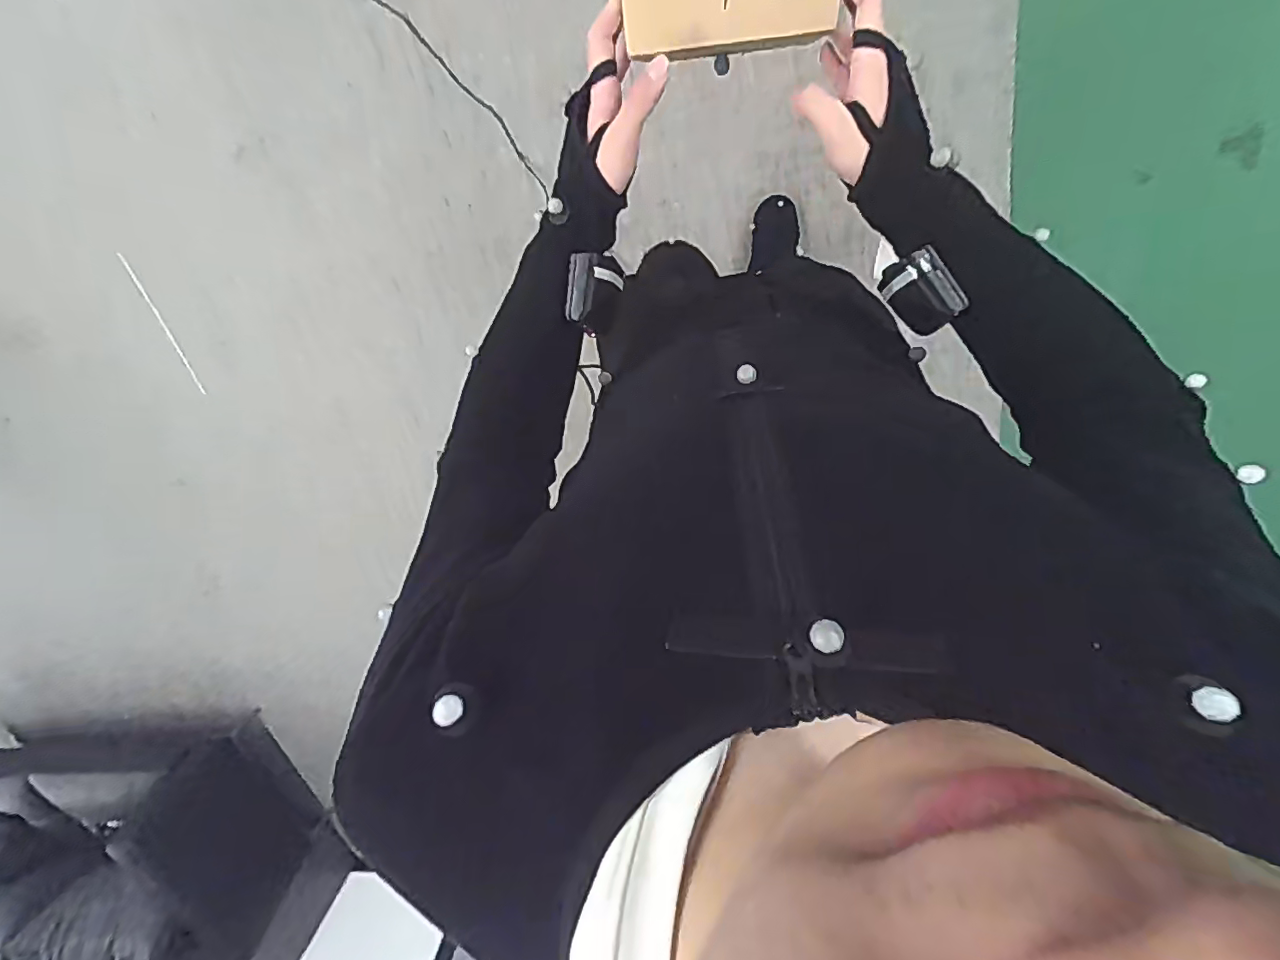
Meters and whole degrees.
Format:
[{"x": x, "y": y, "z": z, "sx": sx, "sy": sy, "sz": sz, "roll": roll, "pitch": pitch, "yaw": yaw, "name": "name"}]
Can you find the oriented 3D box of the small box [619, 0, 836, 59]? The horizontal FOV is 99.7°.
[{"x": 0.069, "y": -0.463, "z": 0.436, "sx": 0.168, "sy": 0.176, "sz": 0.179, "roll": 0, "pitch": 126, "yaw": 10, "name": "small box"}]
